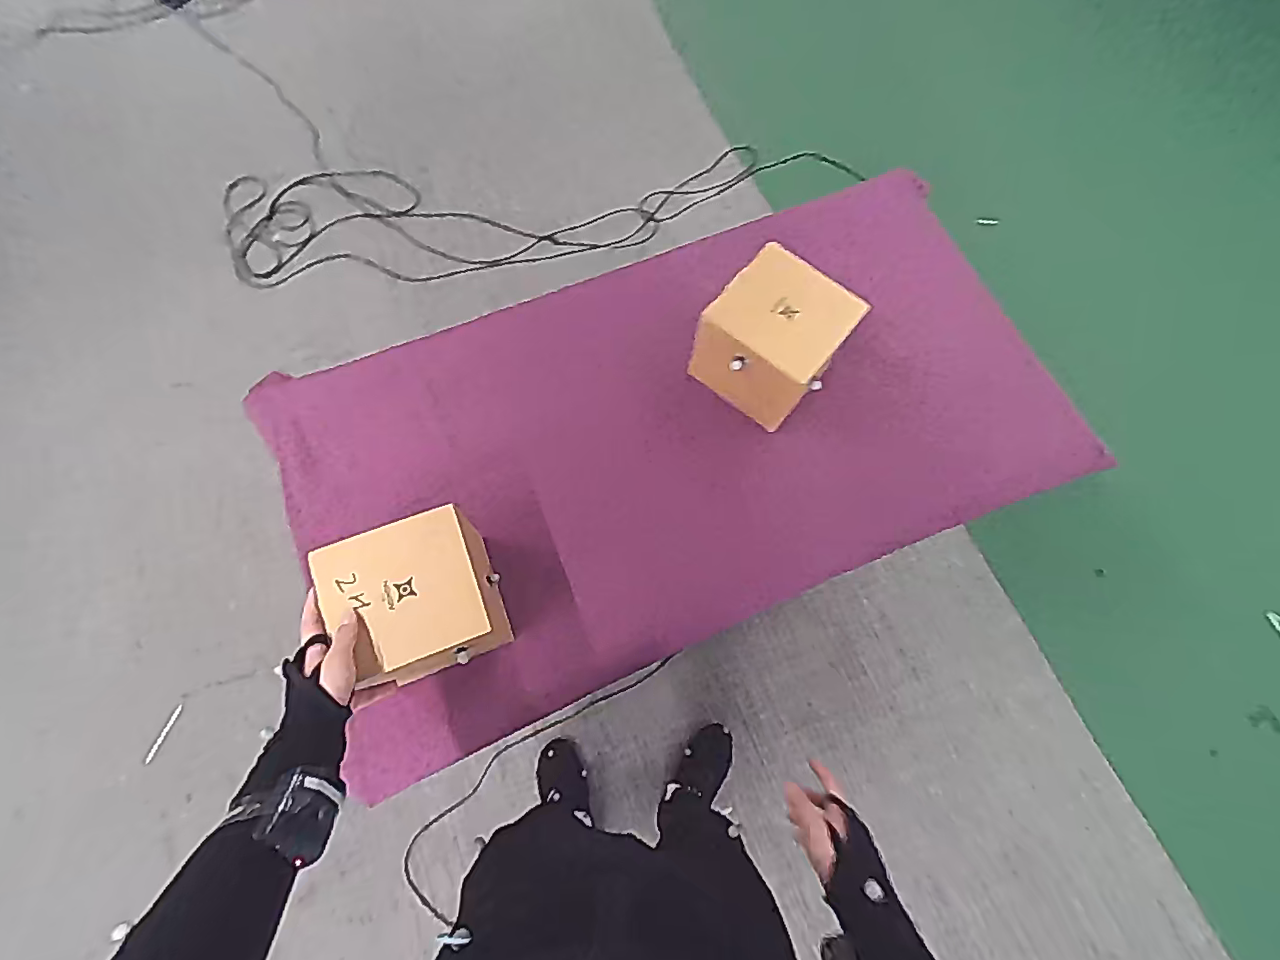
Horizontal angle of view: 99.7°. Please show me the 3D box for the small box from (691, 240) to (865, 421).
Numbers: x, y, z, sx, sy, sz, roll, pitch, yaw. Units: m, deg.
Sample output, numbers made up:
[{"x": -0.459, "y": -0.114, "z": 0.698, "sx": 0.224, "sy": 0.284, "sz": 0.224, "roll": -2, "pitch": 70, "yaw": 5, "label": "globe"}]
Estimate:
[{"x": 0.196, "y": -0.212, "z": 0.822, "sx": 0.179, "sy": 0.176, "sz": 0.168, "roll": 38, "pitch": 76, "yaw": 11, "label": "small box"}]

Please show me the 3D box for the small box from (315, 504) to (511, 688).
[{"x": -0.274, "y": 0.151, "z": 0.694, "sx": 0.179, "sy": 0.176, "sz": 0.168, "roll": -19, "pitch": 73, "yaw": -10, "label": "small box"}]
